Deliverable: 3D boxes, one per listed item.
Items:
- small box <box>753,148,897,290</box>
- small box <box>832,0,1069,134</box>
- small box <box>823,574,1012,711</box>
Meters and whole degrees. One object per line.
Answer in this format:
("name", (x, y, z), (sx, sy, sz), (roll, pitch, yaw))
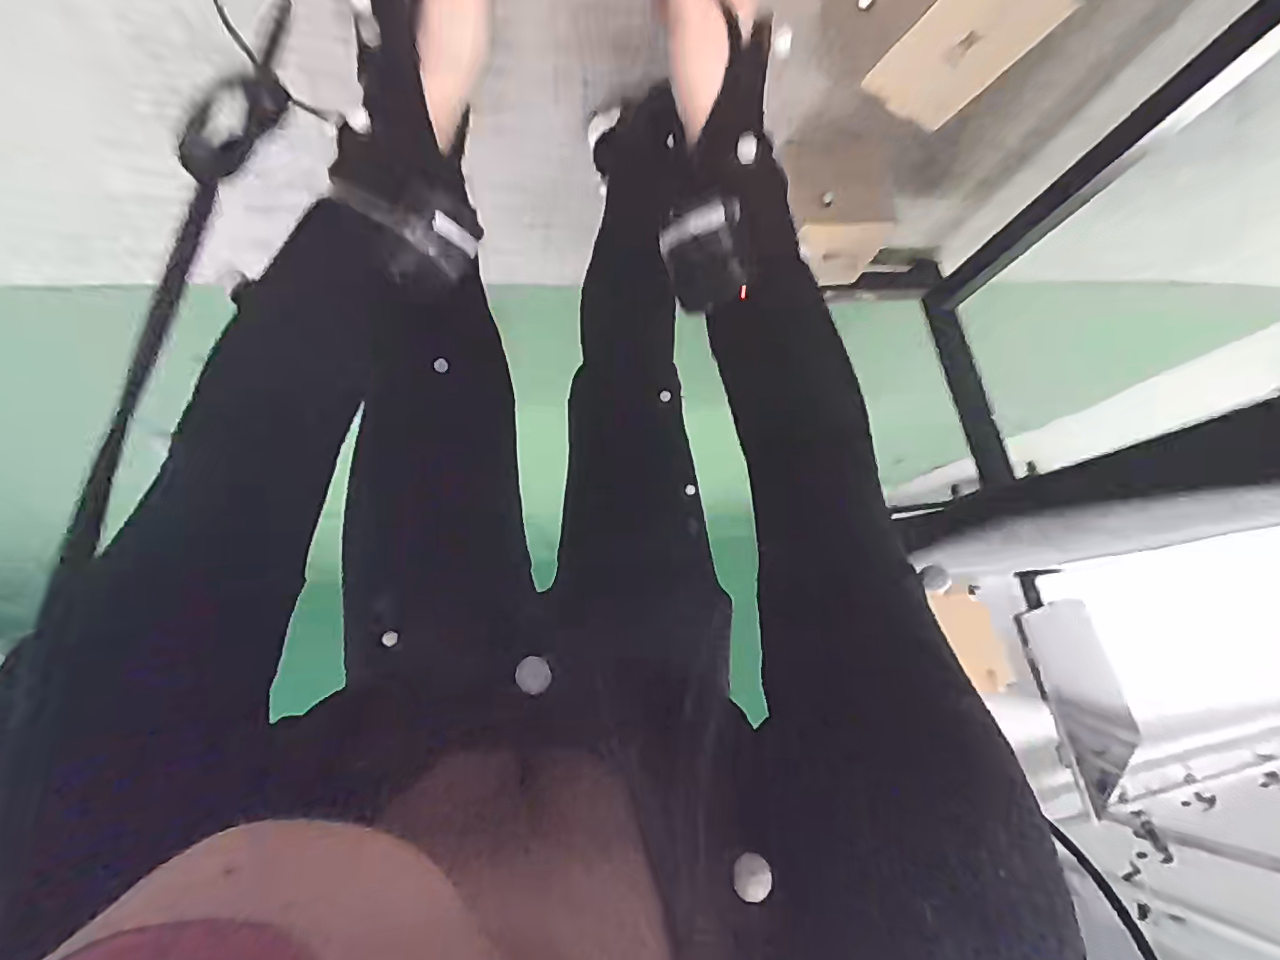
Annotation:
("small box", (0.320, -0.469, 0.978), (0.179, 0.176, 0.168), (-7, 164, -9))
("small box", (0.354, -0.575, 0.646), (0.168, 0.176, 0.179), (1, 160, -33))
("small box", (0.414, 0.242, 0.826), (0.168, 0.176, 0.179), (-1, 161, -34))
